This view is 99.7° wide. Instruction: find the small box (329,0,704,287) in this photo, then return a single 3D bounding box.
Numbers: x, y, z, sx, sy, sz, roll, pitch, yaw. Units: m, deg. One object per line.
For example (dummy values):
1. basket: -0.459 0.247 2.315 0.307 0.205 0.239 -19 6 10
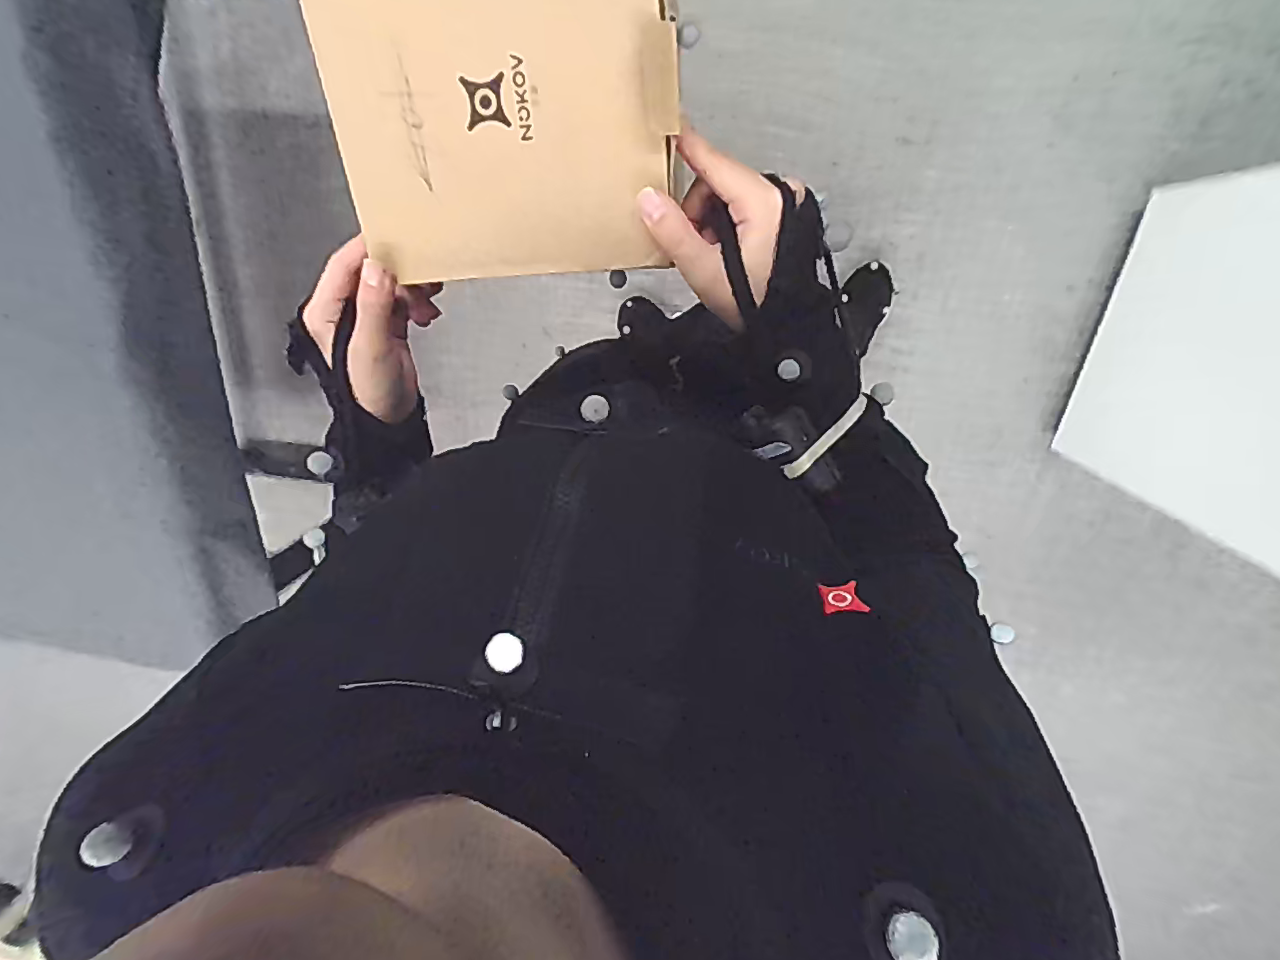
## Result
1. small box: -0.050 -0.218 0.338 0.179 0.176 0.168 -1 114 8
